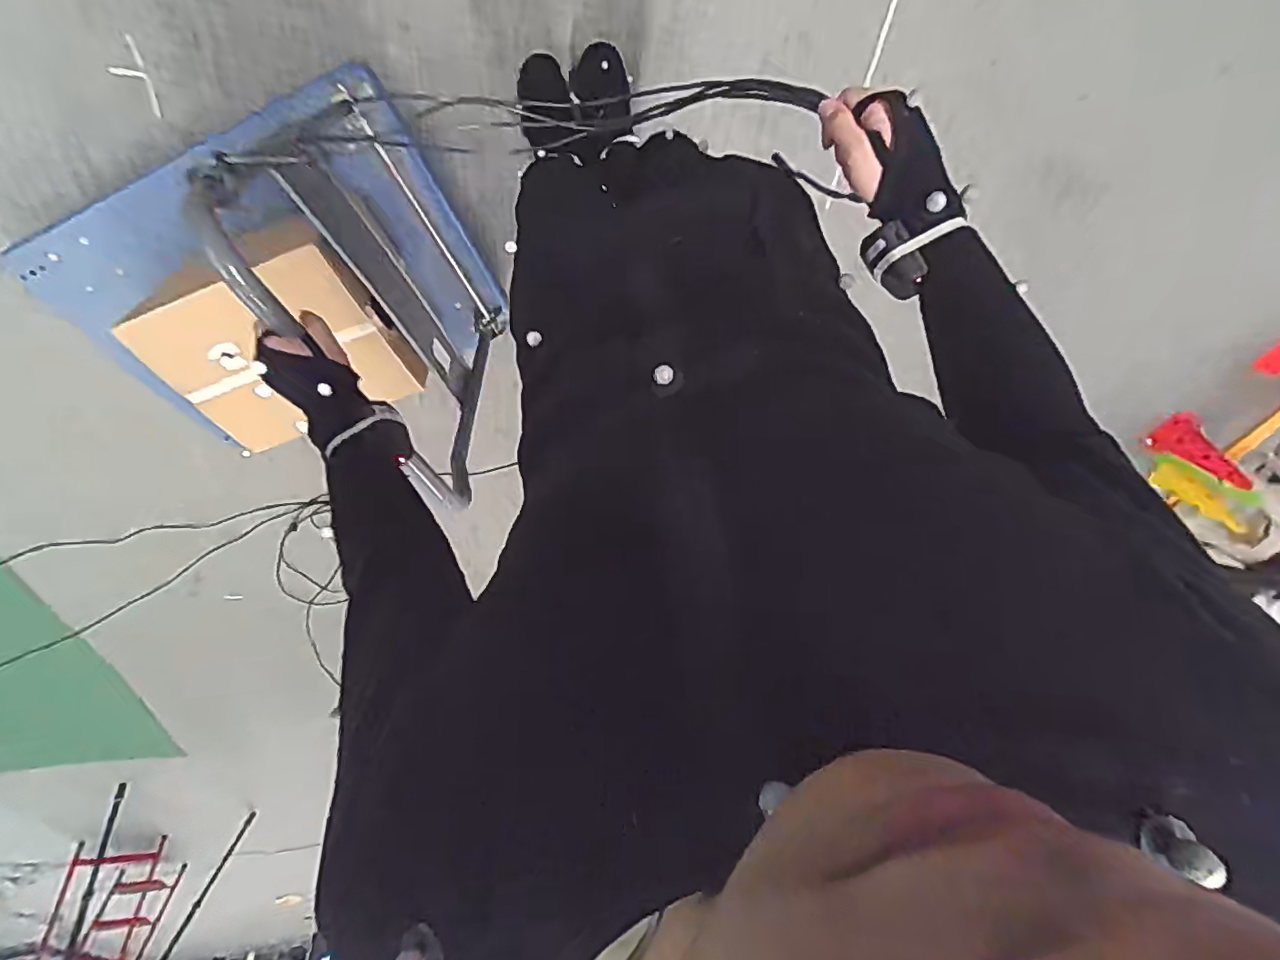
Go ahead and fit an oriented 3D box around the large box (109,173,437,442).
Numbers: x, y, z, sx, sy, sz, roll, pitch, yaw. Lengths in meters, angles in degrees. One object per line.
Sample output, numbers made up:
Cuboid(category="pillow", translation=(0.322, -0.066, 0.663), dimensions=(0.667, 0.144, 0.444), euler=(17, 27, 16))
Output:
Cuboid(category="large box", translation=(-0.685, -0.343, 1.089), dimensions=(0.408, 0.320, 0.320), euler=(-19, 135, 7))
